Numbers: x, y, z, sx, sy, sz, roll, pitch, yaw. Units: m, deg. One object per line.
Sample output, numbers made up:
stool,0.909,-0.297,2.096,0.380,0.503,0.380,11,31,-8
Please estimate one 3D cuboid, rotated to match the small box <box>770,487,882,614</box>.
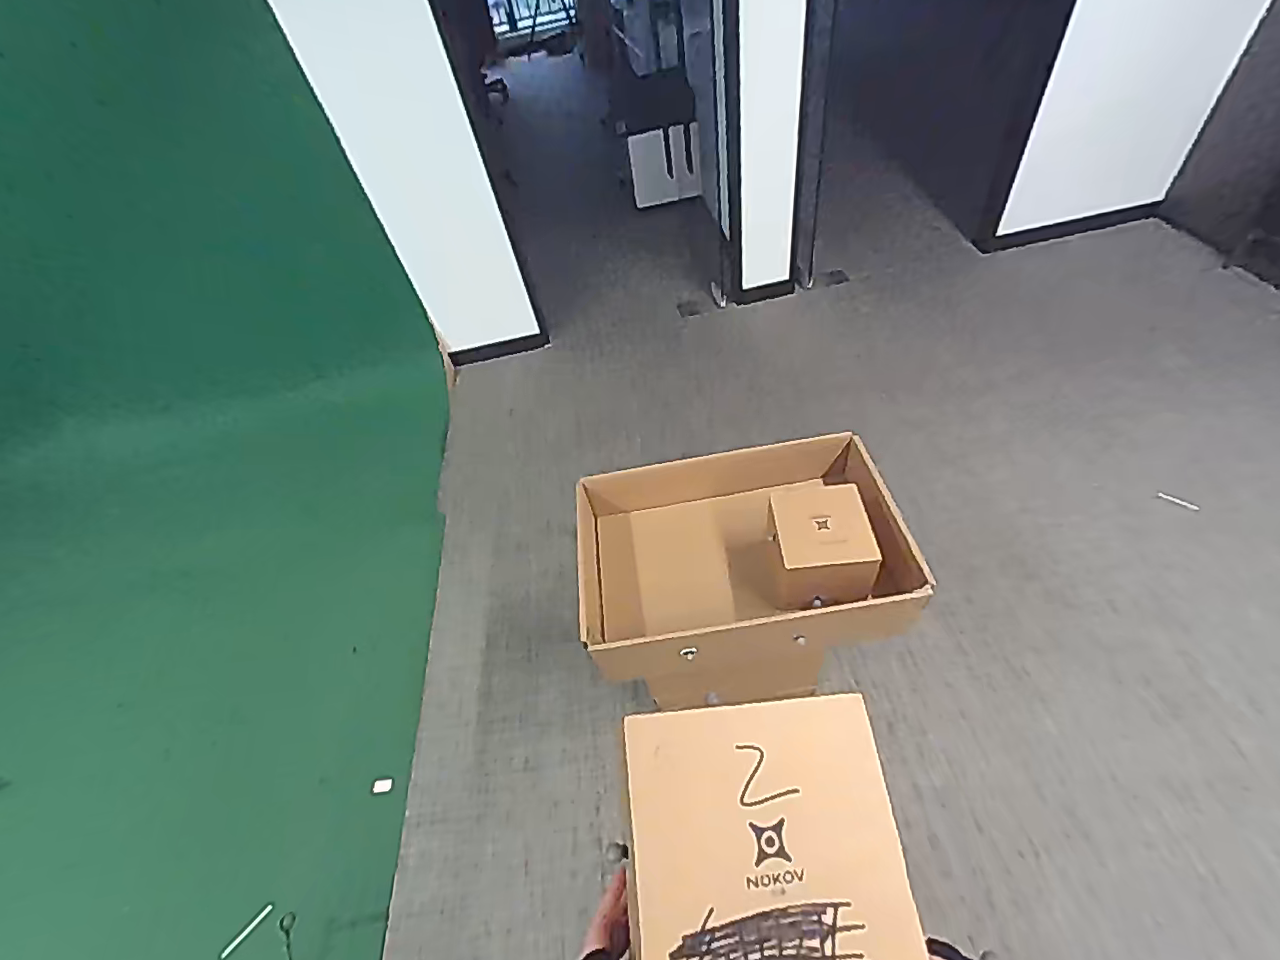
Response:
small box,0.347,0.137,1.043,0.168,0.176,0.179,-7,48,7
